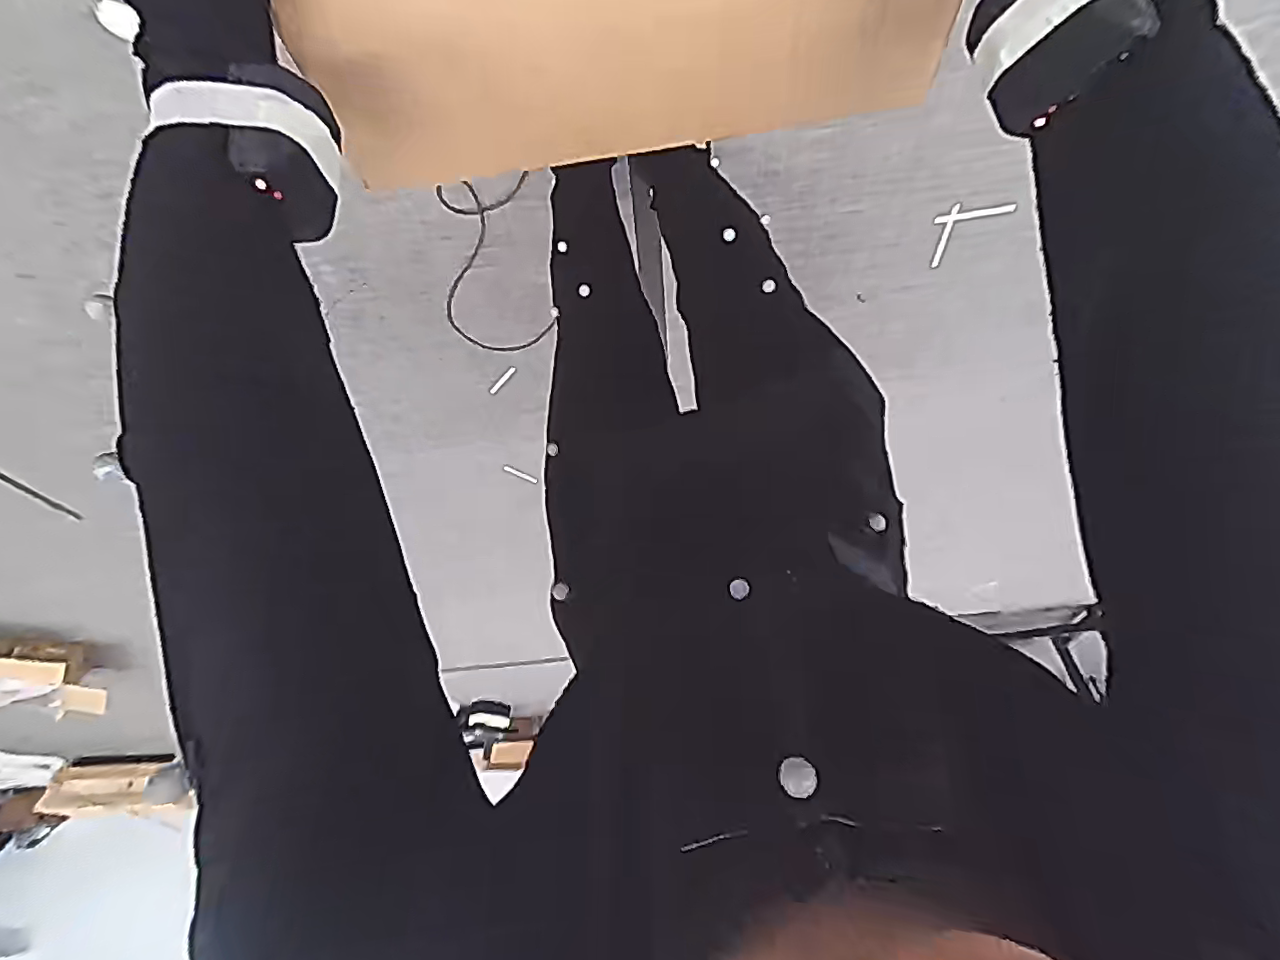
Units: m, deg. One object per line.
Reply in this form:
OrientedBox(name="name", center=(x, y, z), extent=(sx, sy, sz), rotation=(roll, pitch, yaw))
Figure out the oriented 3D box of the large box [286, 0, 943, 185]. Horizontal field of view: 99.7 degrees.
OrientedBox(name="large box", center=(-0.030, -0.452, 0.343), extent=(0.408, 0.320, 0.320), rotation=(-8, 150, 2))
